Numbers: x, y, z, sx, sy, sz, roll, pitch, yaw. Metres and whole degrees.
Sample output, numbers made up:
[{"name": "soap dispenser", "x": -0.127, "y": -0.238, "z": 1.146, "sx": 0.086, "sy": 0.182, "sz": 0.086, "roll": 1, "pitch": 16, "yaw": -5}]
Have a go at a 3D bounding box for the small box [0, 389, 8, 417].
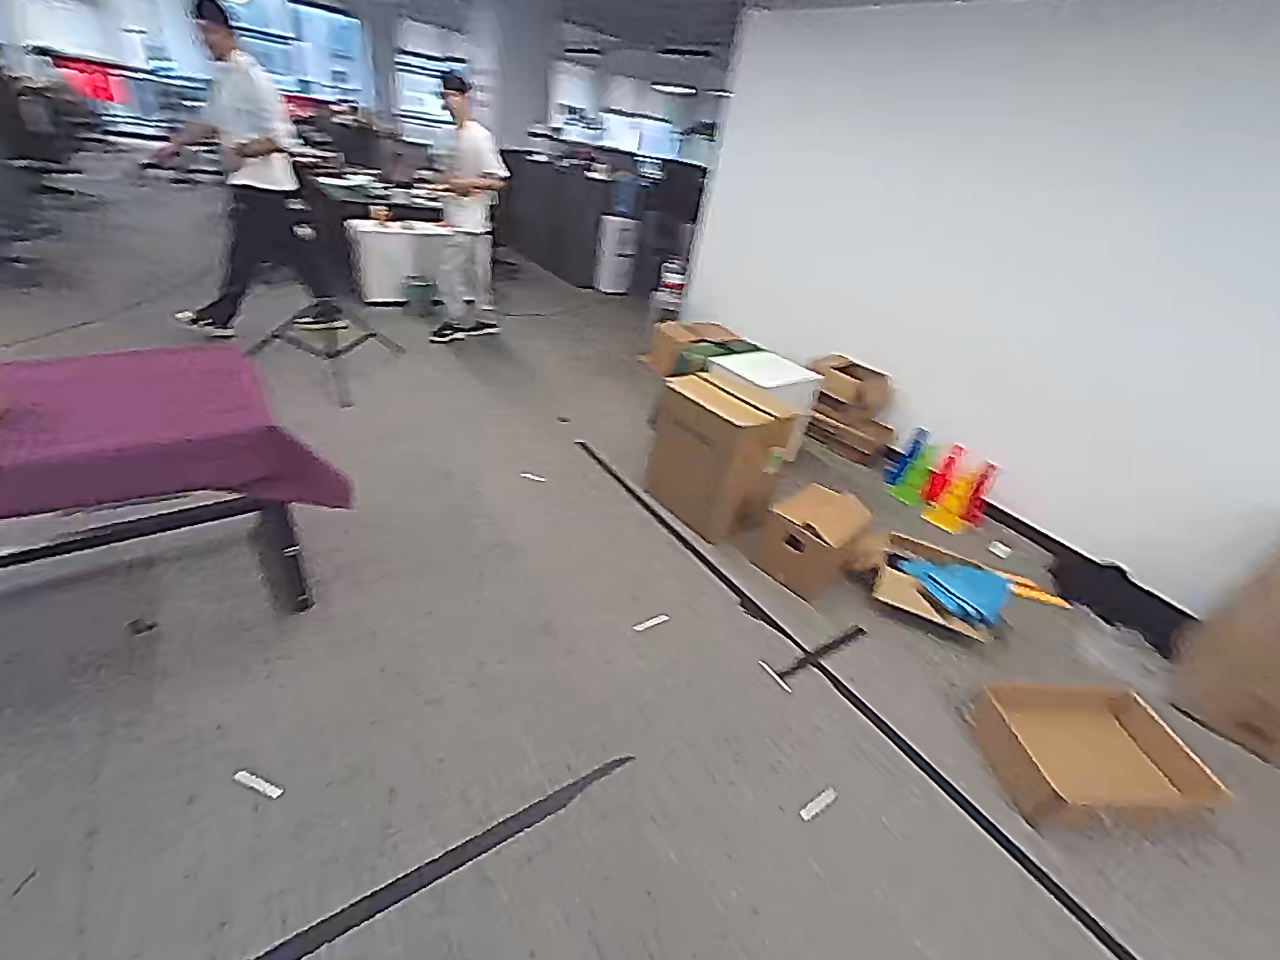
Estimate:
[{"name": "small box", "x": -1.624, "y": -0.198, "z": 1.238, "sx": 0.179, "sy": 0.176, "sz": 0.168, "roll": -9, "pitch": 37, "yaw": -30}]
